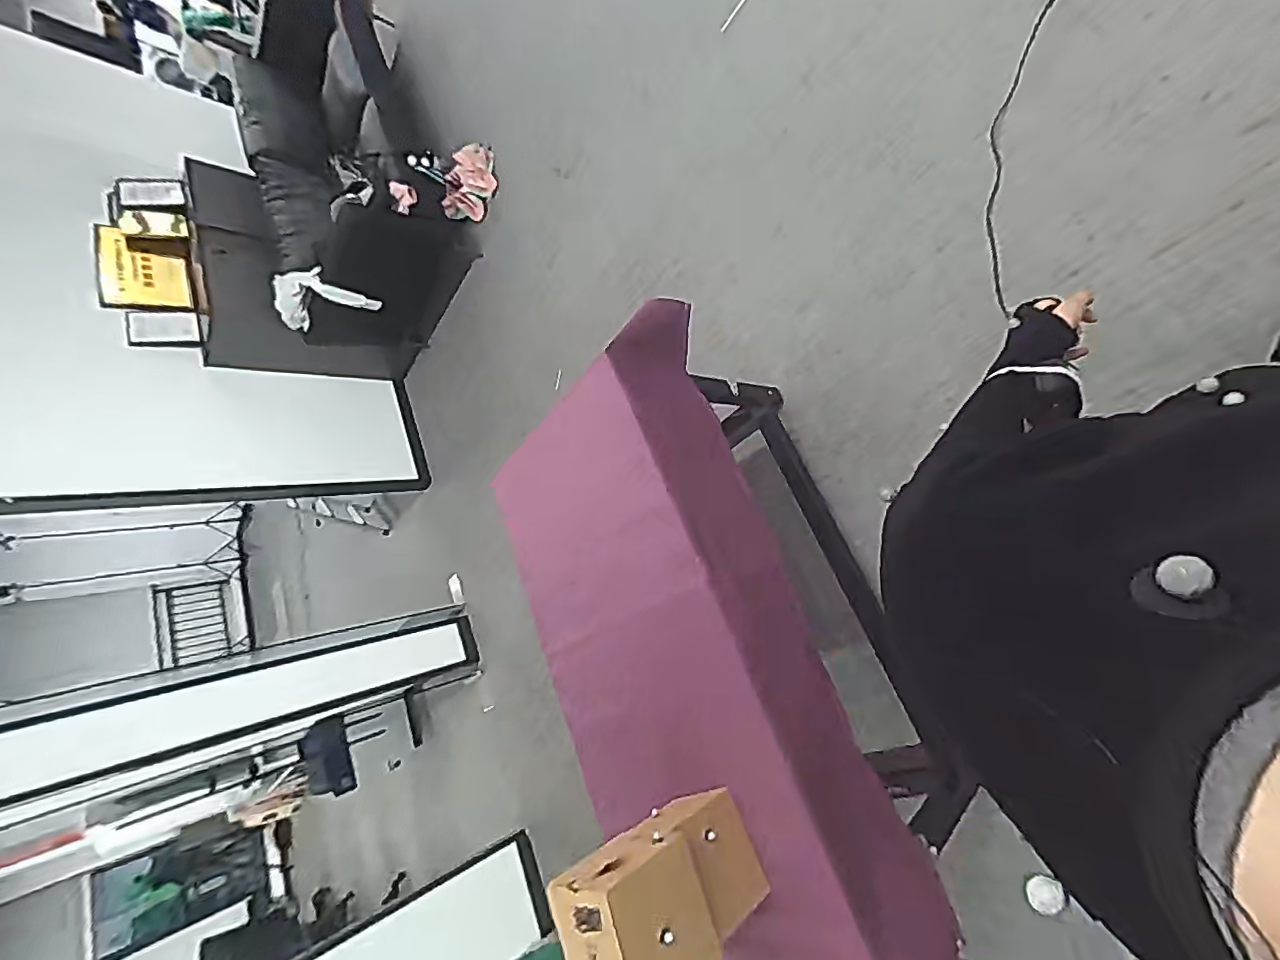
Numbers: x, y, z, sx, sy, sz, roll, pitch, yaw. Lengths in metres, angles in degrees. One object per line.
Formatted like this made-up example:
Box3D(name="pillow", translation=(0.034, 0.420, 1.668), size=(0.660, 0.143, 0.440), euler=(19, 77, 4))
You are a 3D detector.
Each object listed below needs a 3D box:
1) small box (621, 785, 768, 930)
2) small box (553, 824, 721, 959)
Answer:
Box3D(name="small box", translation=(0.097, 0.681, 0.985), size=(0.168, 0.176, 0.179), euler=(-41, 65, 39))
Box3D(name="small box", translation=(-0.004, 0.671, 0.853), size=(0.168, 0.176, 0.179), euler=(-34, 70, 41))
